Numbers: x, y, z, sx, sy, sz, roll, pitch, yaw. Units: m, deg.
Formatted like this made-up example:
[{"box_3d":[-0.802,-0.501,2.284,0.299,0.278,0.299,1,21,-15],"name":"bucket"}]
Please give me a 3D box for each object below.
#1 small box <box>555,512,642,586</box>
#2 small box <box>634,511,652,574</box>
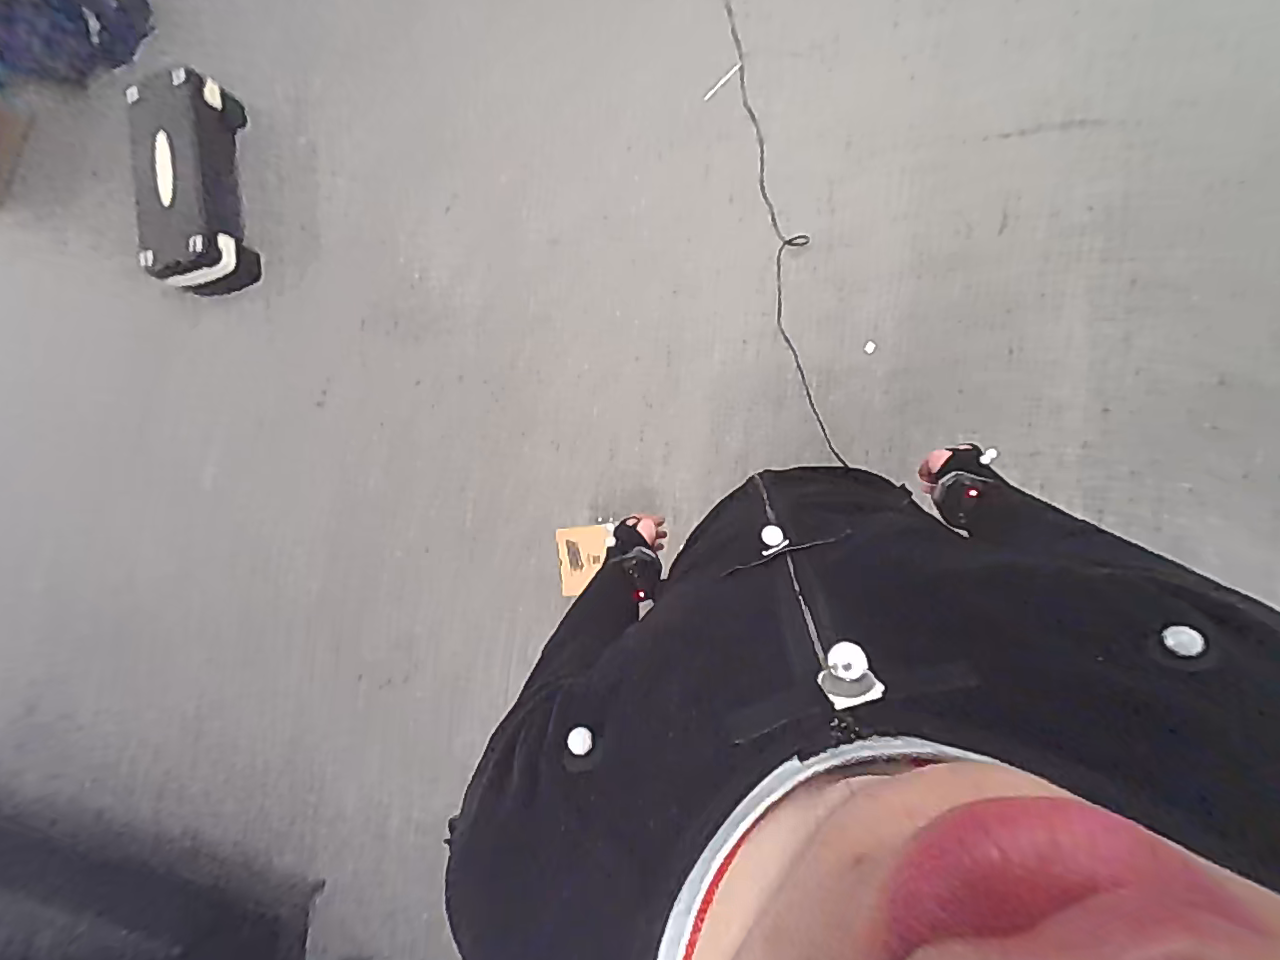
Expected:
[{"box_3d":[-0.101,0.172,1.384,0.179,0.176,0.168,-7,88,11],"name":"small box"},{"box_3d":[-0.068,0.181,1.545,0.179,0.176,0.168,-8,87,14],"name":"small box"}]
